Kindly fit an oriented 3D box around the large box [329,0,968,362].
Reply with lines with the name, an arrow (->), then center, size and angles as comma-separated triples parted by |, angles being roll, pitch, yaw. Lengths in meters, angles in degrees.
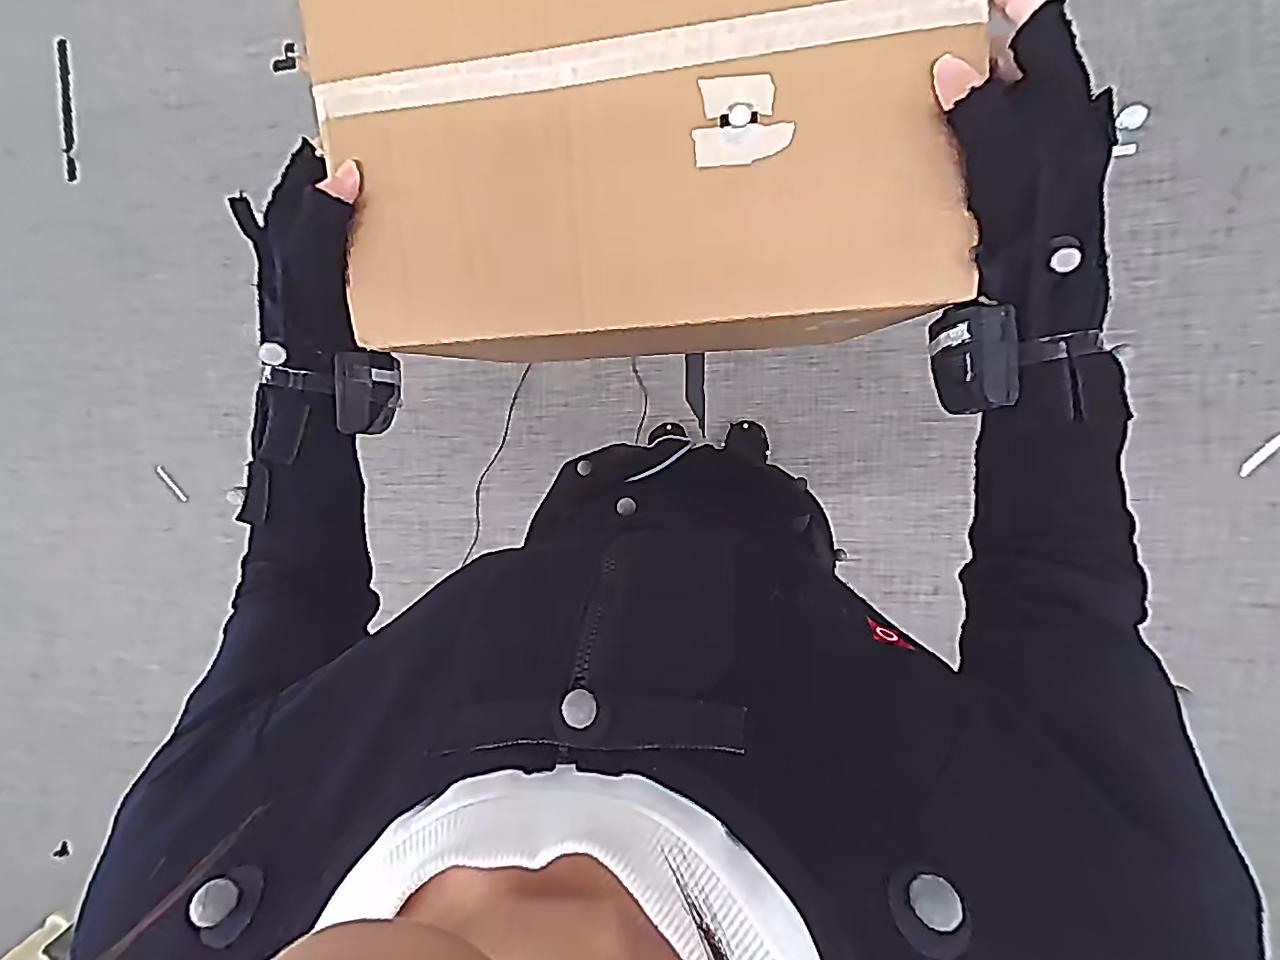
large box -> 0.012, -0.286, 0.487 | 0.408, 0.320, 0.320 | -3, 100, 7
